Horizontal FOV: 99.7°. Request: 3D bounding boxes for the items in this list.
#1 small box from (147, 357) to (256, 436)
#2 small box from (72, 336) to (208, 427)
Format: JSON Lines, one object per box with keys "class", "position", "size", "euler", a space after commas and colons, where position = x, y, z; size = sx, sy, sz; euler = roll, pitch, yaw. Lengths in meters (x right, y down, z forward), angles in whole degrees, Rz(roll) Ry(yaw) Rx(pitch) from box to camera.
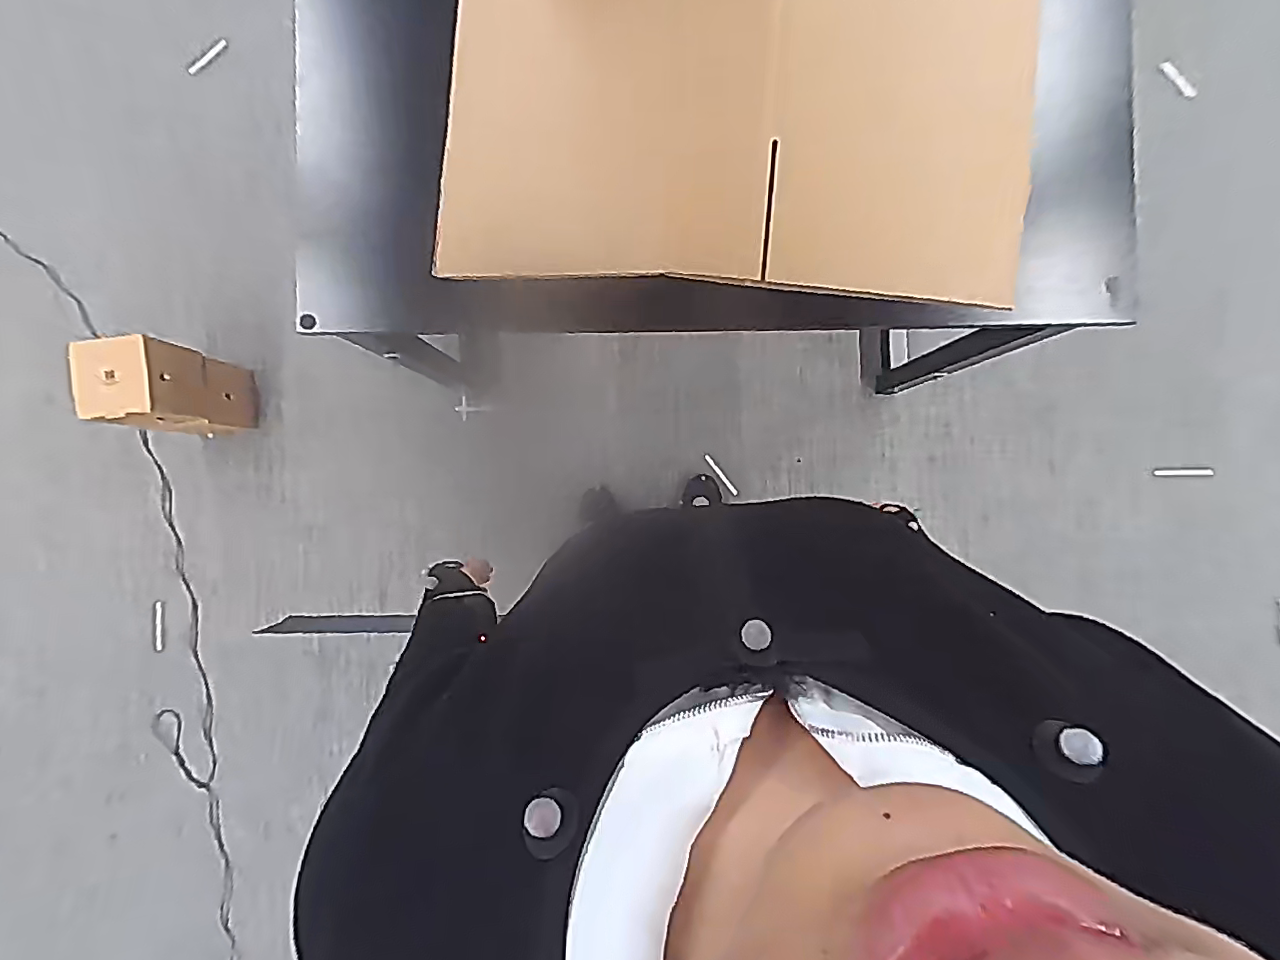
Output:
{"class": "small box", "position": [-1.160, -0.216, 1.434], "size": [0.168, 0.176, 0.179], "euler": [-5, 90, 1]}
{"class": "small box", "position": [-1.163, -0.223, 1.272], "size": [0.168, 0.176, 0.179], "euler": [-8, 88, -1]}
